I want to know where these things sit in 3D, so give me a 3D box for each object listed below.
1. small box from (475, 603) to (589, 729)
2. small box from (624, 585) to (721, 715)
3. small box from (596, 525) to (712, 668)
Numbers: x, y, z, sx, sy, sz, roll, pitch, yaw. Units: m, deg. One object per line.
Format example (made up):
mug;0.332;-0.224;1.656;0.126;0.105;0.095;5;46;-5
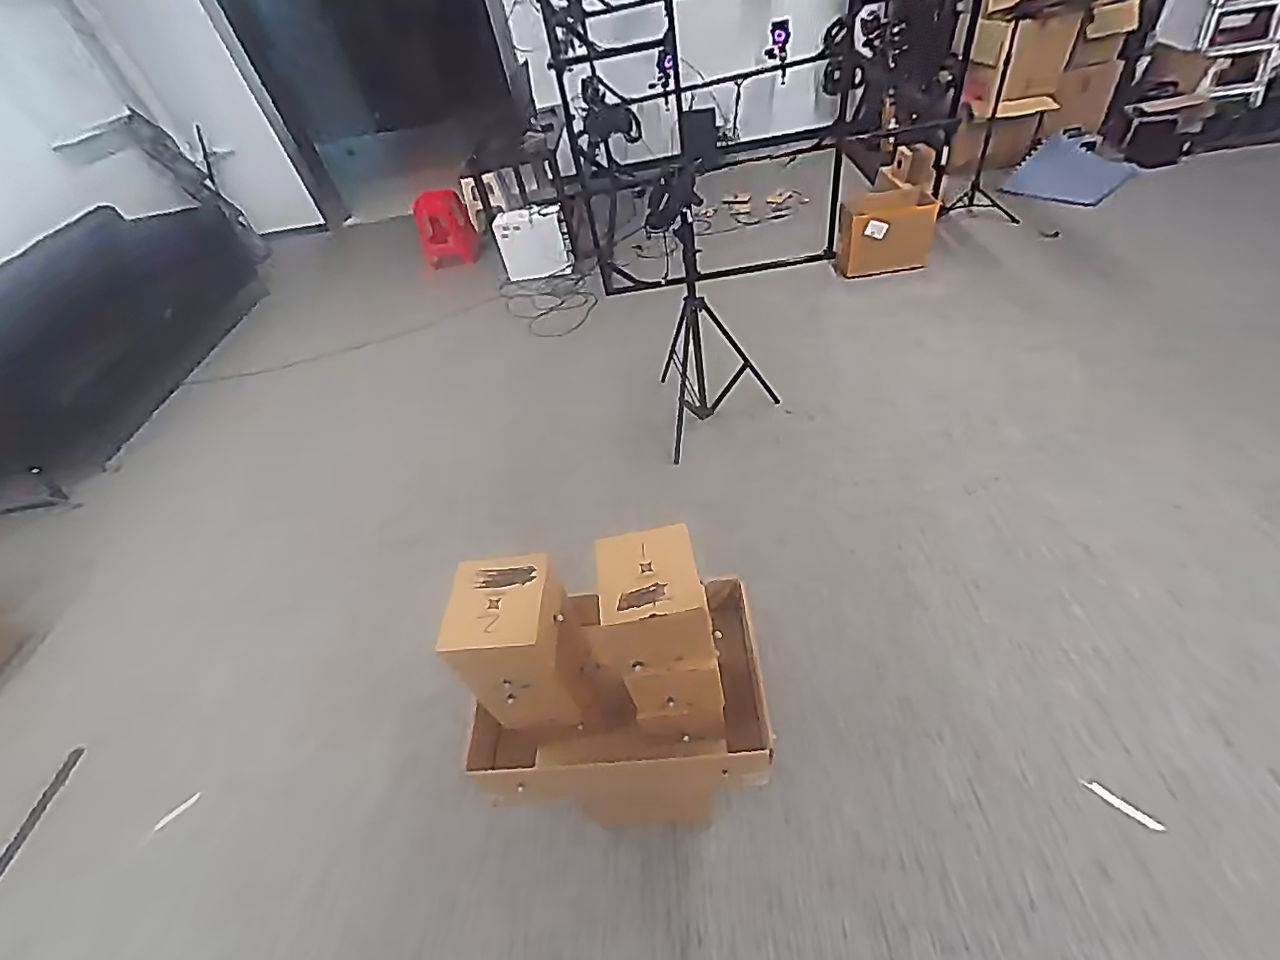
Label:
small box;-0.202;0.369;1.072;0.168;0.176;0.179;-8;44;7
small box;0.061;0.330;1.047;0.168;0.176;0.179;-10;45;5
small box;0.026;0.208;0.941;0.168;0.176;0.179;-11;44;2
